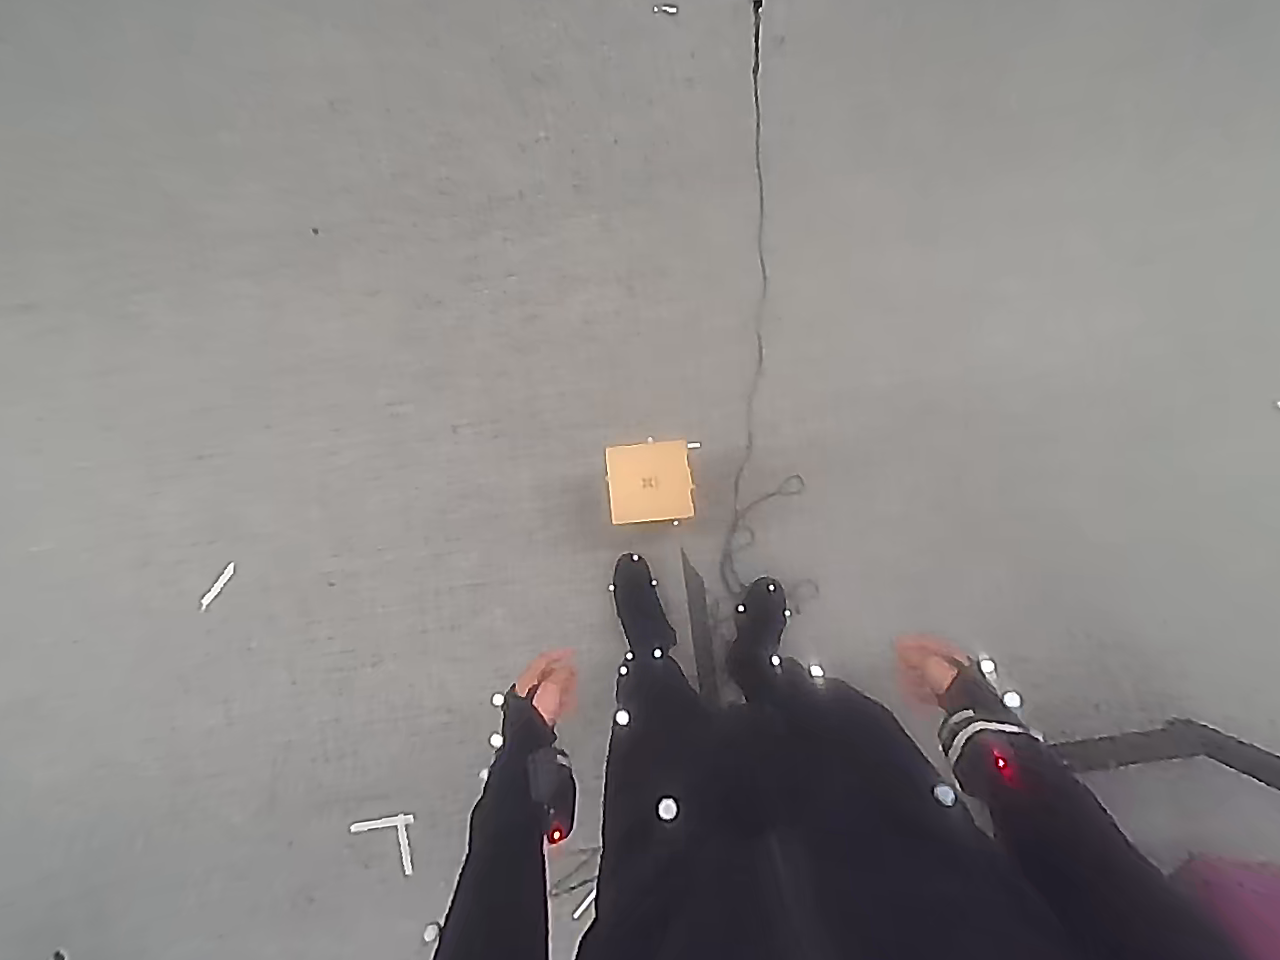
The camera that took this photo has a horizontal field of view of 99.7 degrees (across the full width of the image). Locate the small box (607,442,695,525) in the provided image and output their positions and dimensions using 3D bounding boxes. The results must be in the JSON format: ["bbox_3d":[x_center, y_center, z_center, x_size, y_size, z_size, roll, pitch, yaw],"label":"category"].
[{"bbox_3d":[0.028,0.014,1.215,0.179,0.176,0.168,-6,87,3],"label":"small box"}]
